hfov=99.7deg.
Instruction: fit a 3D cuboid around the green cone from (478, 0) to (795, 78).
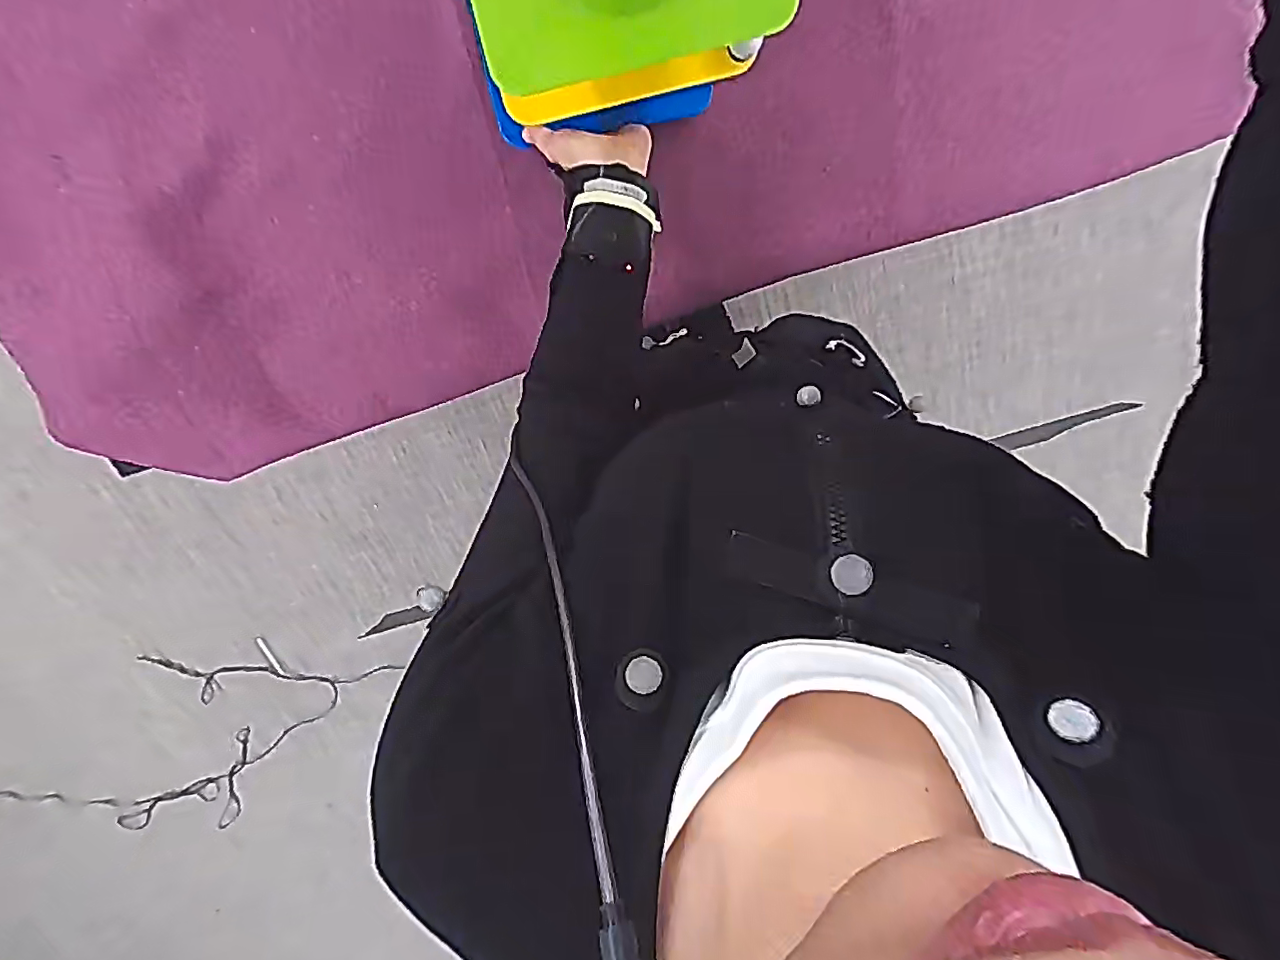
[{"bbox_3d":[-0.010,-0.315,0.140,0.200,0.368,0.202,-13,105,3],"label":"green cone"}]
